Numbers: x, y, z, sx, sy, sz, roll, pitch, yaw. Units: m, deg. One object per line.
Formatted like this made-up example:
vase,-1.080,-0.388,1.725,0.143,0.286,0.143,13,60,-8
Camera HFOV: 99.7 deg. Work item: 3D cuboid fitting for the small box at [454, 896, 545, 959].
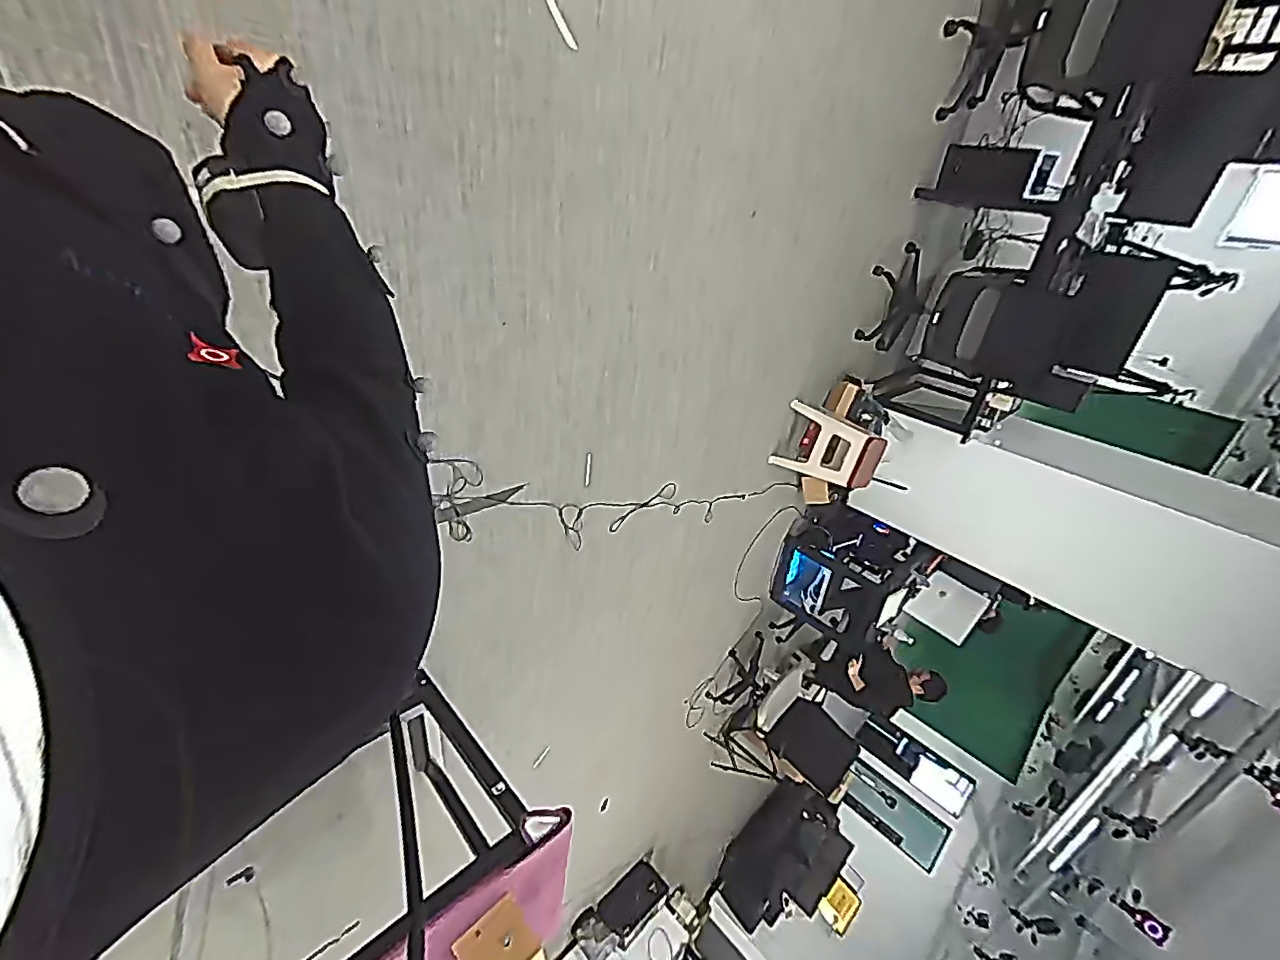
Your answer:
small box,-0.363,1.238,1.404,0.168,0.176,0.179,-28,133,-35
